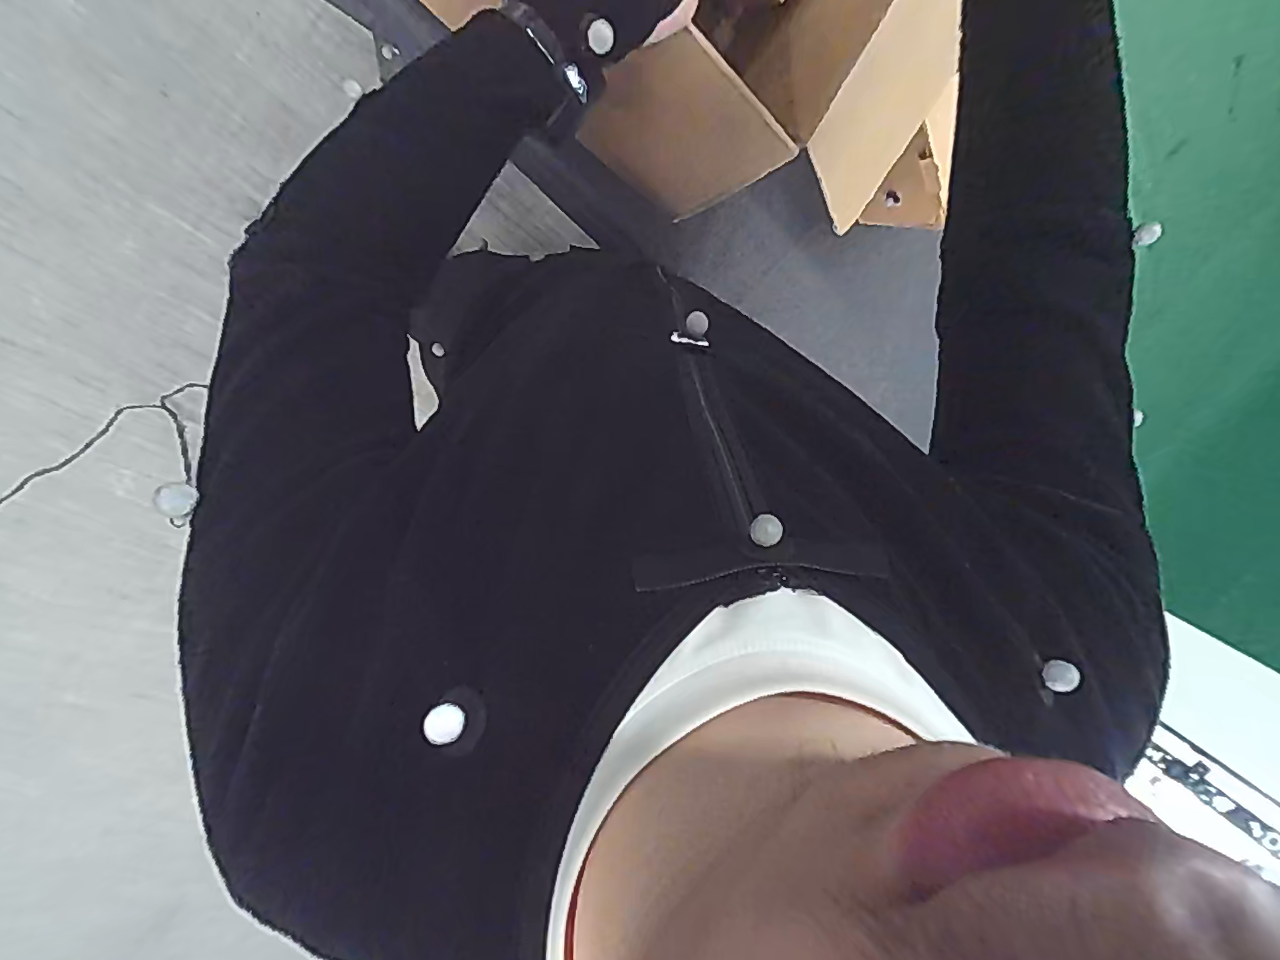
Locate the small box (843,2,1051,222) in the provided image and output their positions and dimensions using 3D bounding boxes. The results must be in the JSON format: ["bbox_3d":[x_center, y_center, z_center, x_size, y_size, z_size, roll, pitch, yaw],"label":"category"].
[{"bbox_3d":[0.399,-0.477,0.725,0.179,0.176,0.168,-40,127,0],"label":"small box"}]
